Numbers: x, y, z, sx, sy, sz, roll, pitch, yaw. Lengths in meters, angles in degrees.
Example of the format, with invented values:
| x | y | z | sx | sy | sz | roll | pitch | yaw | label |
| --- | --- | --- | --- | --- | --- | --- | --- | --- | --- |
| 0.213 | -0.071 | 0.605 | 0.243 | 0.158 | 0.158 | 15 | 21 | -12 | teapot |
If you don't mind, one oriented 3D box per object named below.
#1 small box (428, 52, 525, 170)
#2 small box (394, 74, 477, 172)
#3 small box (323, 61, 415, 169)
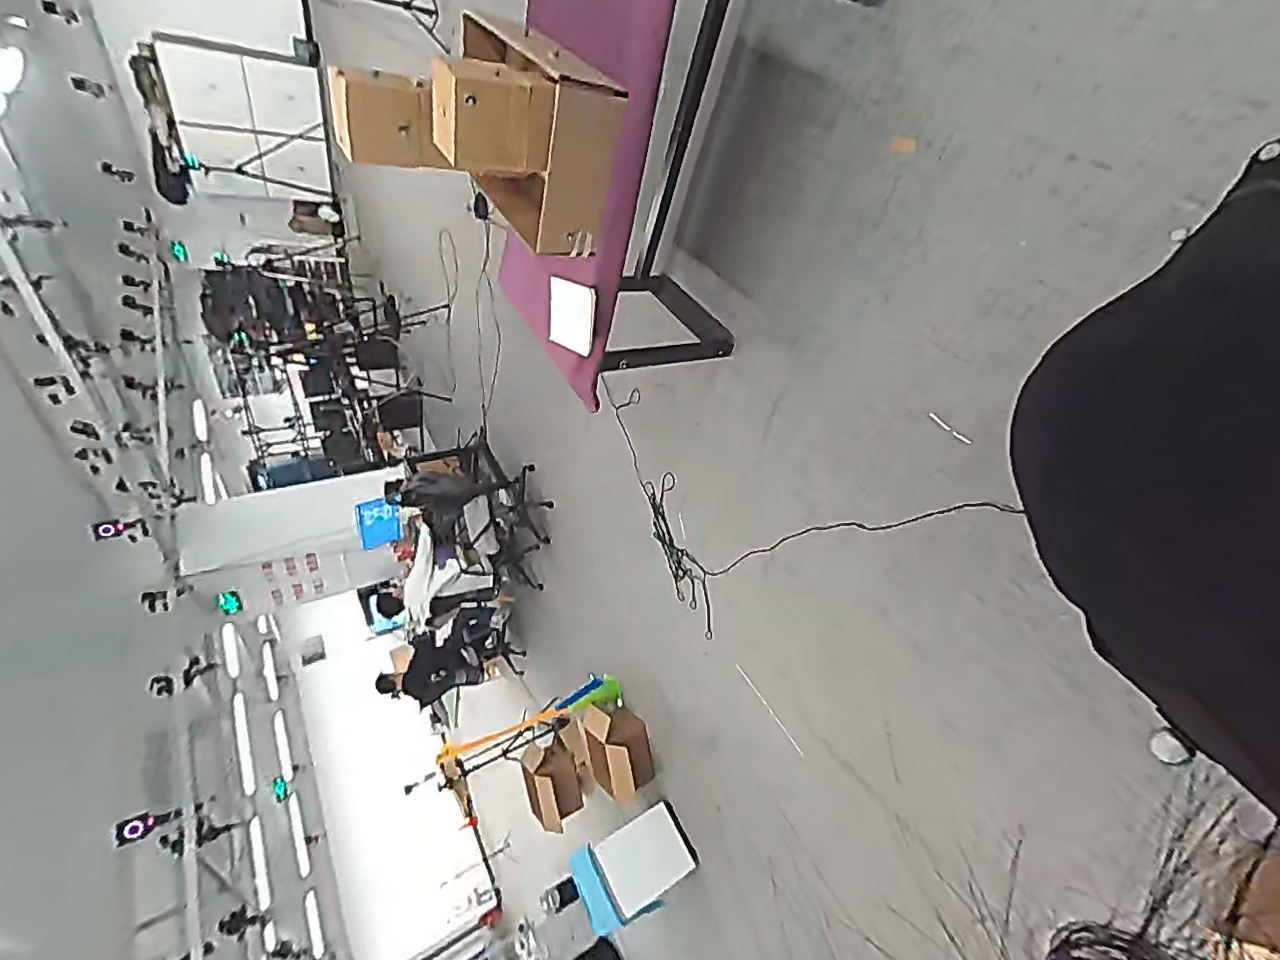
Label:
| x | y | z | sx | sy | sz | roll | pitch | yaw | label |
| --- | --- | --- | --- | --- | --- | --- | --- | --- | --- |
| -0.372 | -0.829 | 1.229 | 0.168 | 0.176 | 0.179 | 55 | 143 | 31 | small box |
| -0.543 | -0.952 | 1.450 | 0.168 | 0.176 | 0.179 | 50 | 141 | 32 | small box |
| -0.678 | -0.915 | 1.365 | 0.168 | 0.176 | 0.179 | 52 | 140 | 31 | small box |
